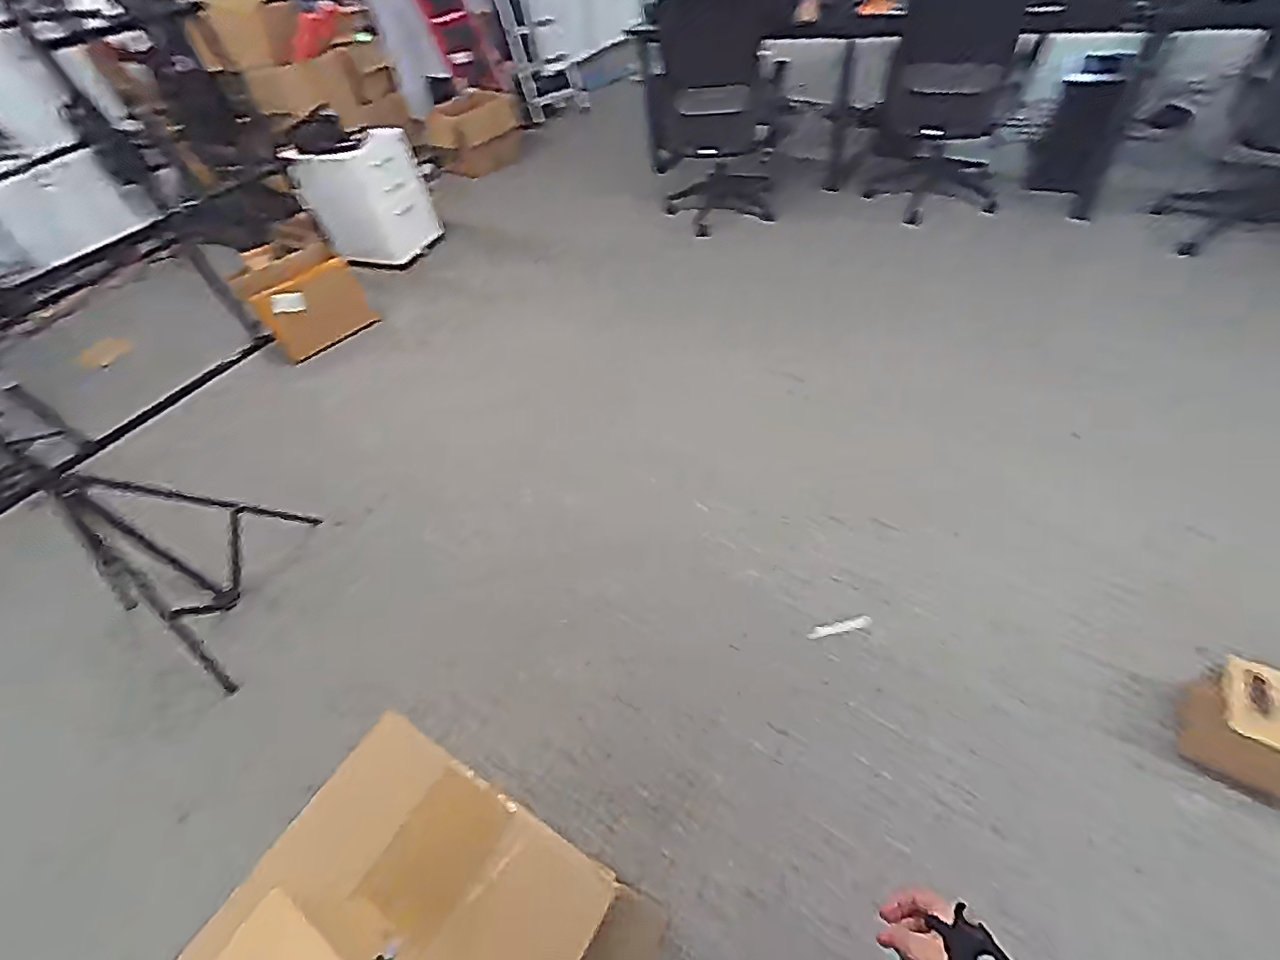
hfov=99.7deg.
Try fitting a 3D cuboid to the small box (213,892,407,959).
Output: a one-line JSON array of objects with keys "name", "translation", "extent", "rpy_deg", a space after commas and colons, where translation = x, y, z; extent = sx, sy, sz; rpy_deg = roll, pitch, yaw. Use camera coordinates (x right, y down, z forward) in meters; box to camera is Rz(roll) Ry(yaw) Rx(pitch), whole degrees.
[{"name": "small box", "translation": [-0.311, 0.519, 0.487], "extent": [0.168, 0.176, 0.179], "rpy_deg": [21, 56, 25]}]
